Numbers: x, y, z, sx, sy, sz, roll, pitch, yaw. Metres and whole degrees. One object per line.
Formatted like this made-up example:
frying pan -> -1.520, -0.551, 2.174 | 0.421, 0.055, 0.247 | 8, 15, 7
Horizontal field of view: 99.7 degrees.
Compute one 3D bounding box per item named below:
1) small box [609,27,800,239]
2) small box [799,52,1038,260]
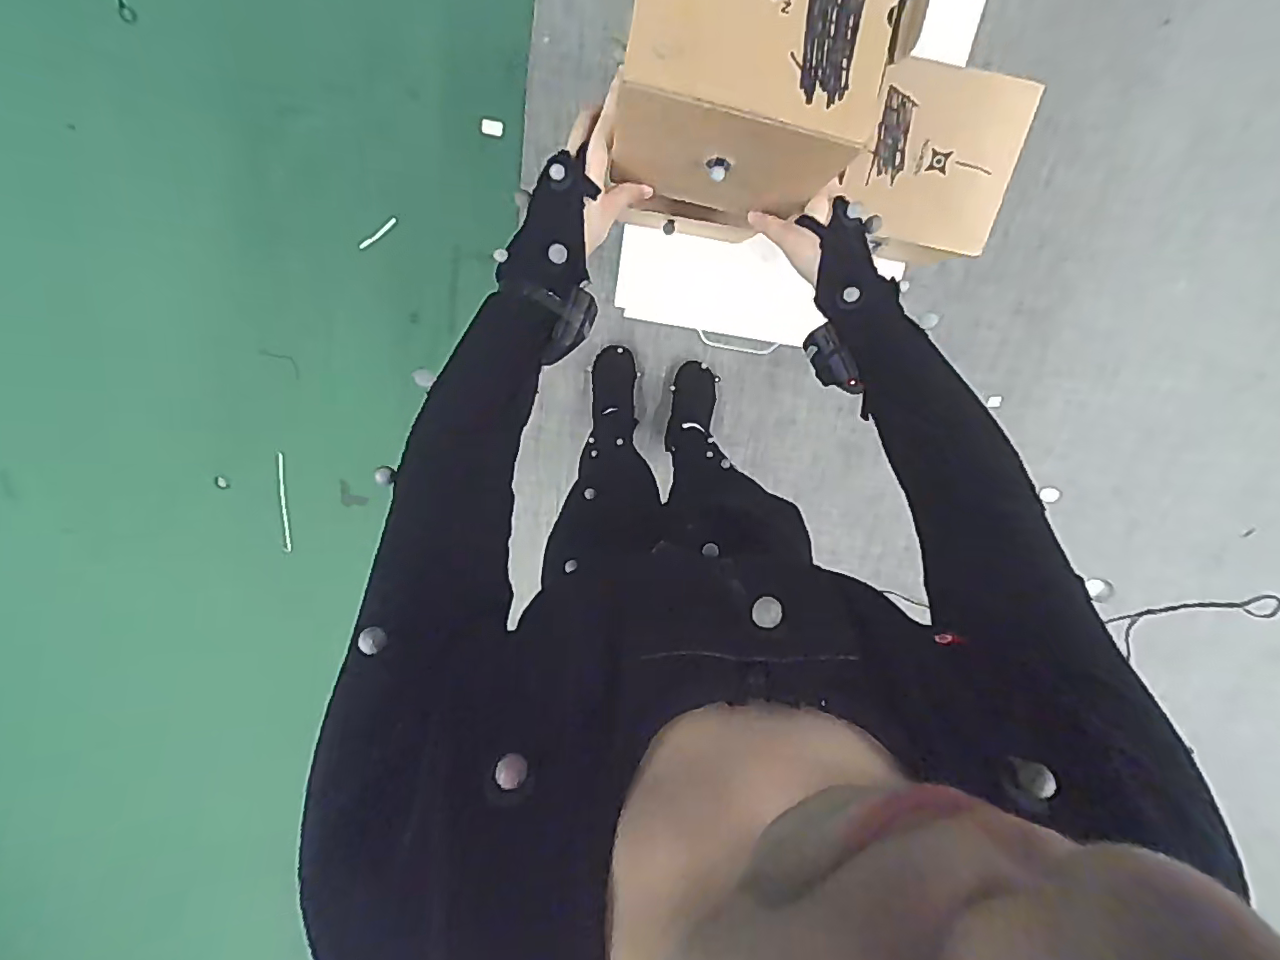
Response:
small box -> 0.067, -0.394, 0.647 | 0.179, 0.176, 0.168 | 9, 110, -2
small box -> 0.309, -0.367, 0.648 | 0.179, 0.176, 0.168 | 12, 110, -1
